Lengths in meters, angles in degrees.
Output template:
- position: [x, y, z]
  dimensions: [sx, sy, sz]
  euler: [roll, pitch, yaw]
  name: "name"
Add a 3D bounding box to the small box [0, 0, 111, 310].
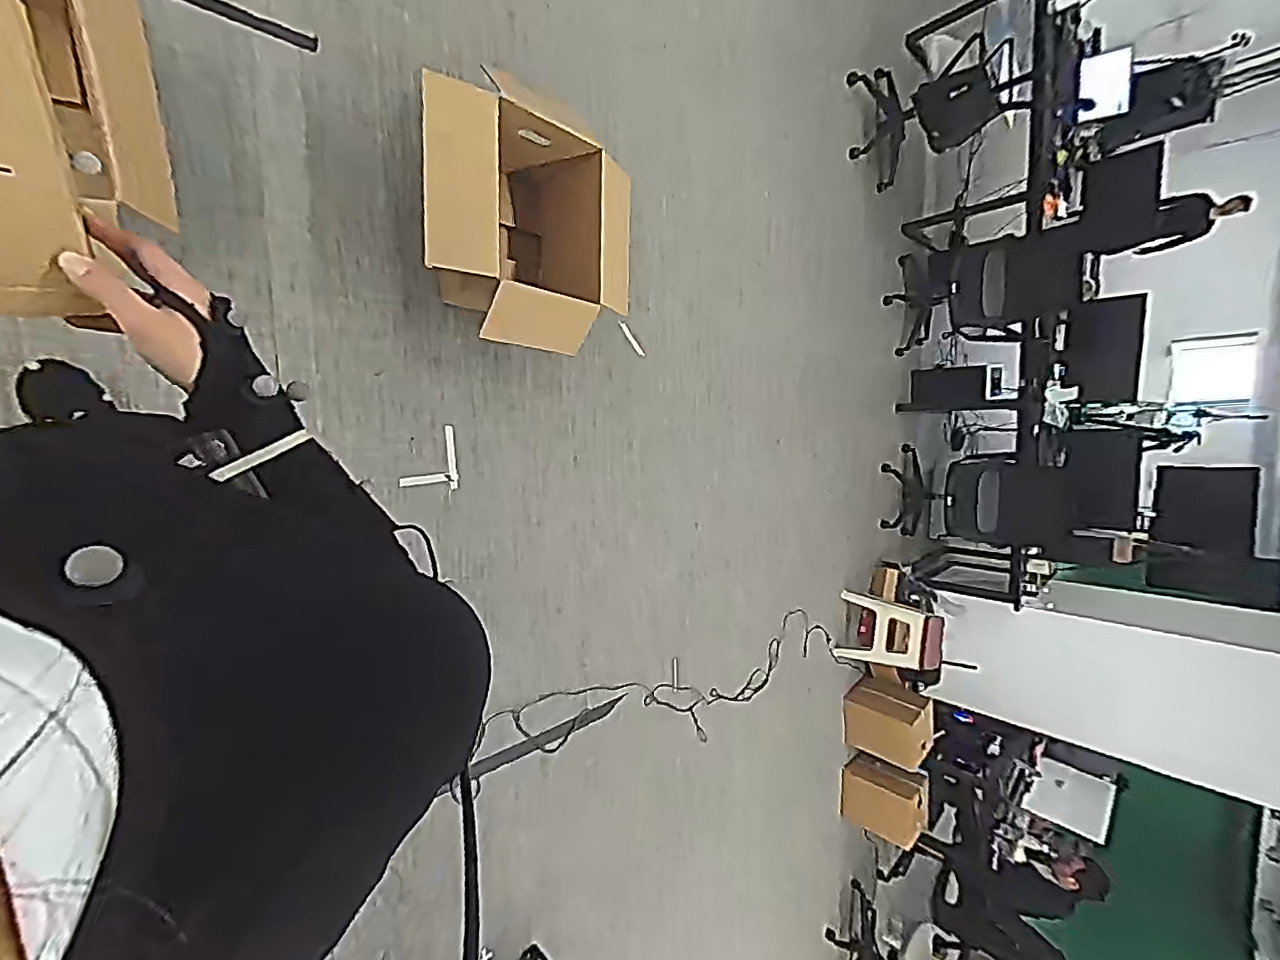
- position: [-0.435, -0.200, 0.298]
  dimensions: [0.179, 0.176, 0.168]
  euler: [-16, 130, -41]
  name: "small box"
